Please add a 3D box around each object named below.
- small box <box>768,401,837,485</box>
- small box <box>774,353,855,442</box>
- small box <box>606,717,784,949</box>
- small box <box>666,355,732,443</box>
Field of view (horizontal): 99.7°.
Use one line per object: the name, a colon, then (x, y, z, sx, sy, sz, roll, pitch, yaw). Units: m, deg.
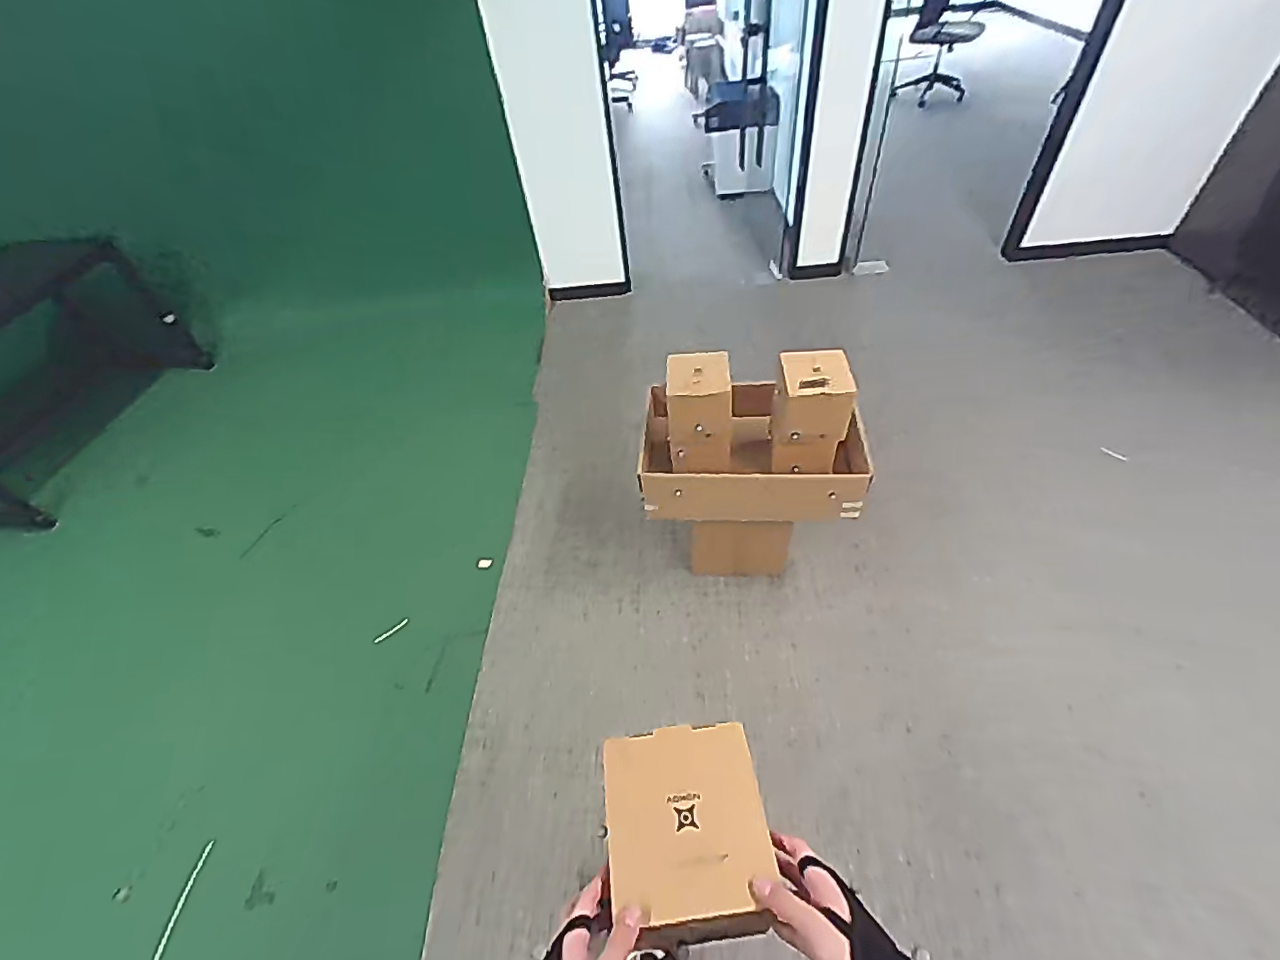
small box: (0.460, -0.108, 1.557, 0.168, 0.176, 0.179, 3, 49, 8)
small box: (0.453, -0.212, 1.429, 0.168, 0.176, 0.179, -1, 48, 5)
small box: (0.049, 0.398, 0.614, 0.168, 0.176, 0.179, -5, 42, -2)
small box: (0.159, -0.218, 1.468, 0.168, 0.176, 0.179, -2, 48, 6)
